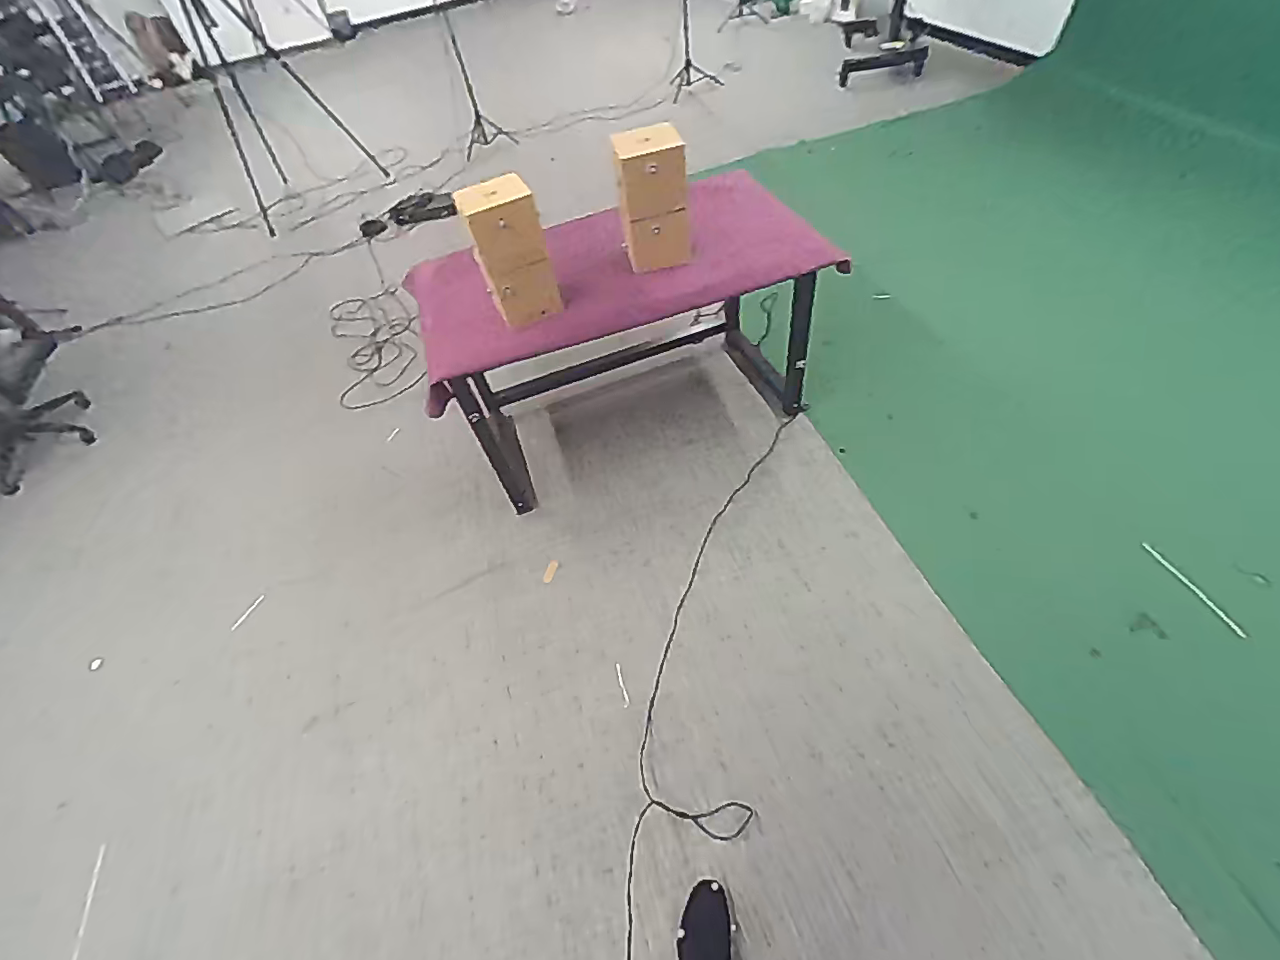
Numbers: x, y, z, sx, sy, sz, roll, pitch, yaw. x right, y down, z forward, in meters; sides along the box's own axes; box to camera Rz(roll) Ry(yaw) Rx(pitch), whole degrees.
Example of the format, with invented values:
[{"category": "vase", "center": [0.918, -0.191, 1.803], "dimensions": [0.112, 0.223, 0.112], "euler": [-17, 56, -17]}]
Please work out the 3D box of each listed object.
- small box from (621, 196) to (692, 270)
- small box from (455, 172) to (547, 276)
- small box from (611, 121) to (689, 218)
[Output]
[{"category": "small box", "center": [0.051, -0.753, 1.618], "dimensions": [0.179, 0.176, 0.168], "euler": [-13, 52, -2]}, {"category": "small box", "center": [-0.354, -0.664, 1.407], "dimensions": [0.179, 0.176, 0.168], "euler": [-25, 52, -9]}, {"category": "small box", "center": [0.029, -0.849, 1.488], "dimensions": [0.179, 0.176, 0.168], "euler": [-14, 53, -2]}]
